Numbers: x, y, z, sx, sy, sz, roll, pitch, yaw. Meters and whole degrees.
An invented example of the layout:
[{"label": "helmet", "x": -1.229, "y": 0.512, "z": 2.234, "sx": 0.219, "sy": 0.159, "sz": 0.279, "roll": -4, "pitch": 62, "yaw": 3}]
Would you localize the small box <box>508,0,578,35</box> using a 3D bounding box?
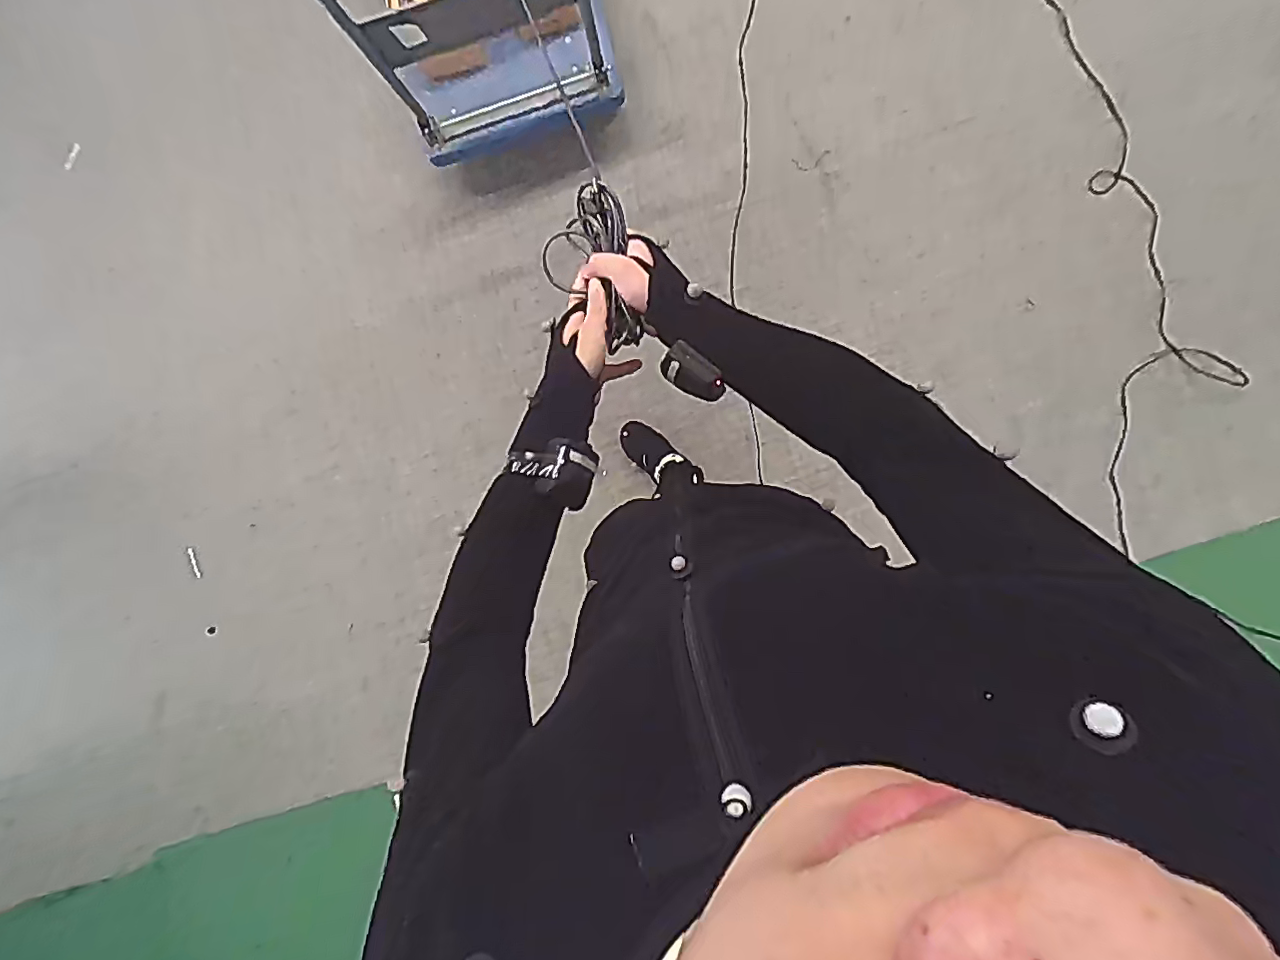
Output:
[{"label": "small box", "x": -0.265, "y": -1.280, "z": 1.352, "sx": 0.168, "sy": 0.176, "sz": 0.179, "roll": -13, "pitch": 92, "yaw": 6}]
